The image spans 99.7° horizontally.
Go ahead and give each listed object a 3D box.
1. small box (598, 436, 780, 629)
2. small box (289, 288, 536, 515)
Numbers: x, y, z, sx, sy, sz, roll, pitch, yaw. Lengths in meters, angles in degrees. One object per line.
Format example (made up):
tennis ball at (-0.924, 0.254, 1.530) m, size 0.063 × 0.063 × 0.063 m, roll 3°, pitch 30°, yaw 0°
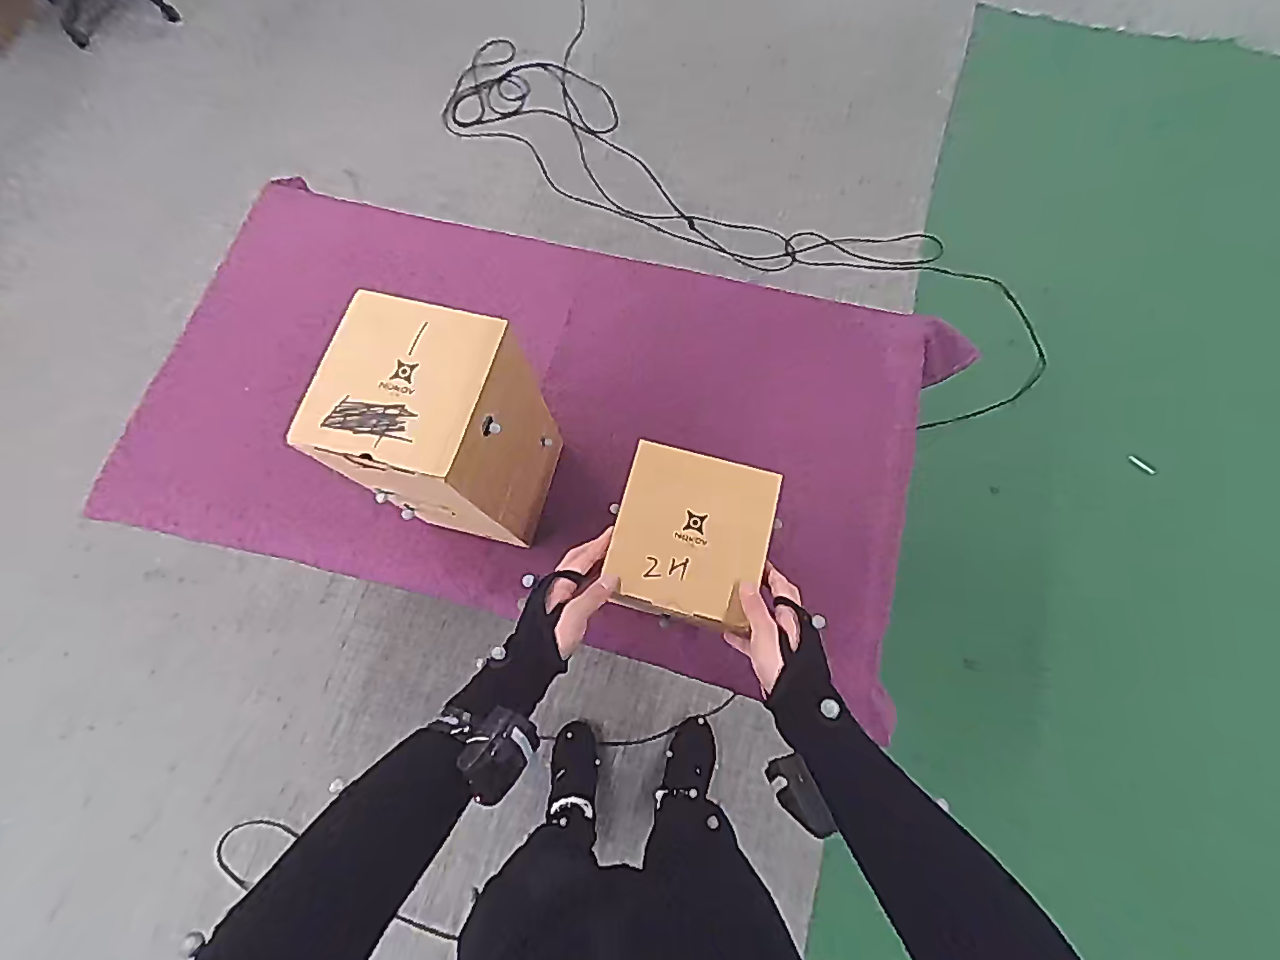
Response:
small box at (0.056, 0.073, 0.660) m, size 0.168 × 0.176 × 0.179 m, roll 15°, pitch 75°, yaw 5°
small box at (-0.227, -0.075, 0.596) m, size 0.168 × 0.176 × 0.179 m, roll 14°, pitch 73°, yaw 6°
